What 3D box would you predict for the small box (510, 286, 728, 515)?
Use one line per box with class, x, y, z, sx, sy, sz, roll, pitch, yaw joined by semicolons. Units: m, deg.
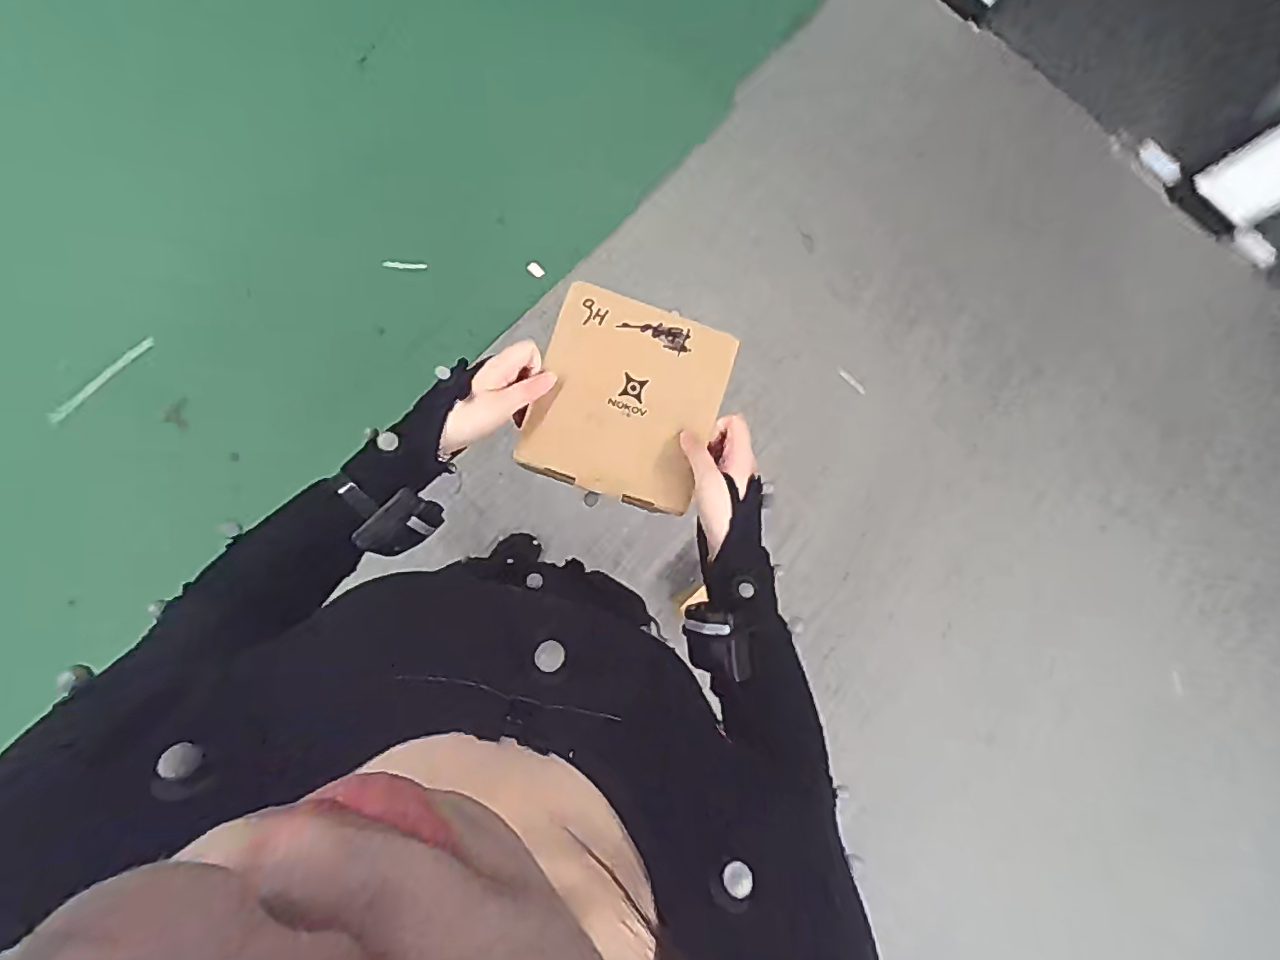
small box;-0.025;-0.073;0.582;0.168;0.176;0.179;18;88;-6
